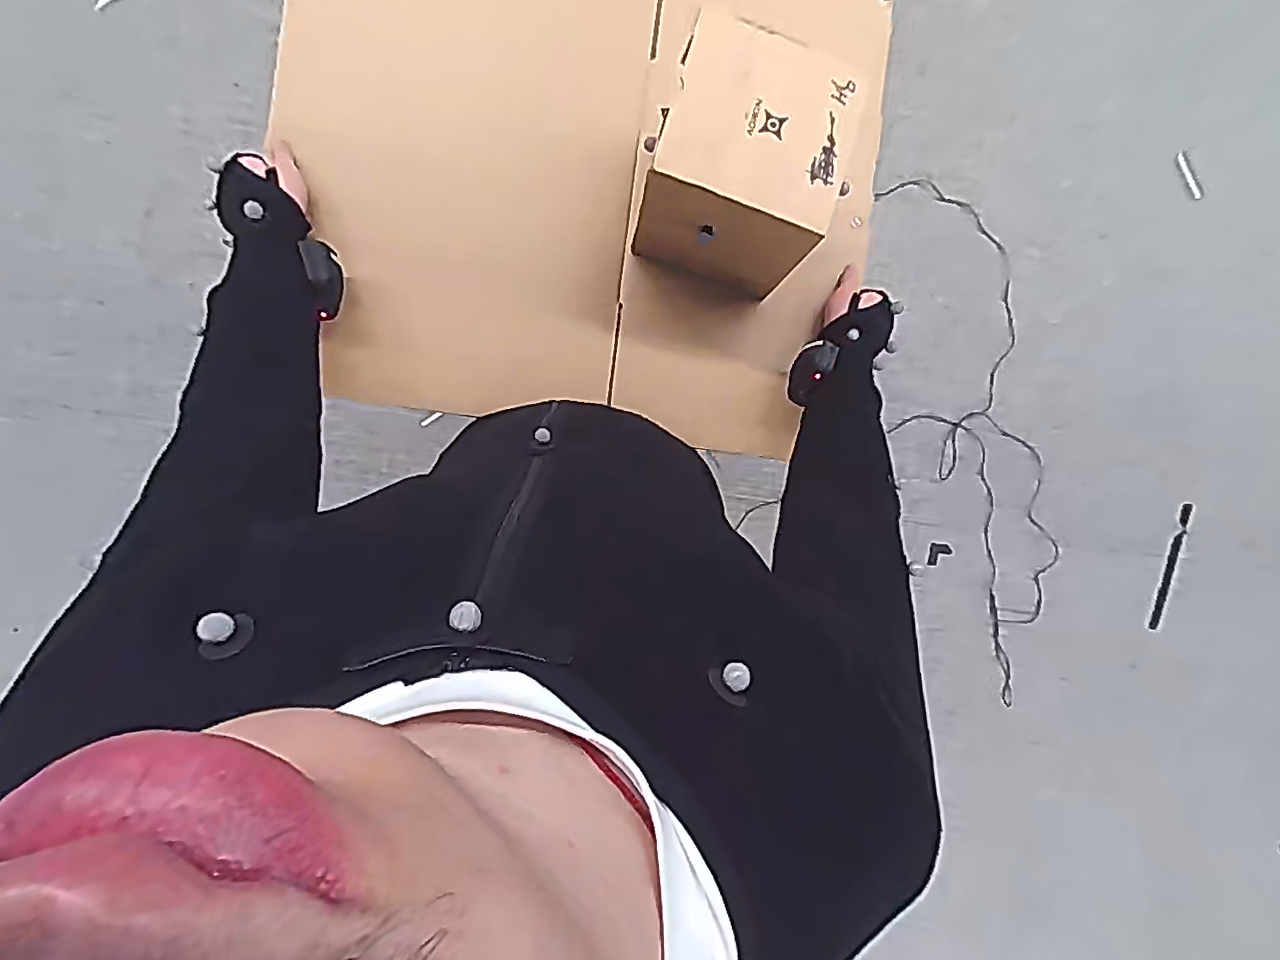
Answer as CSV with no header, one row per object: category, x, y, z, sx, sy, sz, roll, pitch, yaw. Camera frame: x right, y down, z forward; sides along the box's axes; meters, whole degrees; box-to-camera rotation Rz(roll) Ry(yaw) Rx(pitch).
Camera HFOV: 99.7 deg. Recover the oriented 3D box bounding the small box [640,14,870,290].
small box,0.107,-0.330,0.584,0.179,0.176,0.168,17,87,-5
